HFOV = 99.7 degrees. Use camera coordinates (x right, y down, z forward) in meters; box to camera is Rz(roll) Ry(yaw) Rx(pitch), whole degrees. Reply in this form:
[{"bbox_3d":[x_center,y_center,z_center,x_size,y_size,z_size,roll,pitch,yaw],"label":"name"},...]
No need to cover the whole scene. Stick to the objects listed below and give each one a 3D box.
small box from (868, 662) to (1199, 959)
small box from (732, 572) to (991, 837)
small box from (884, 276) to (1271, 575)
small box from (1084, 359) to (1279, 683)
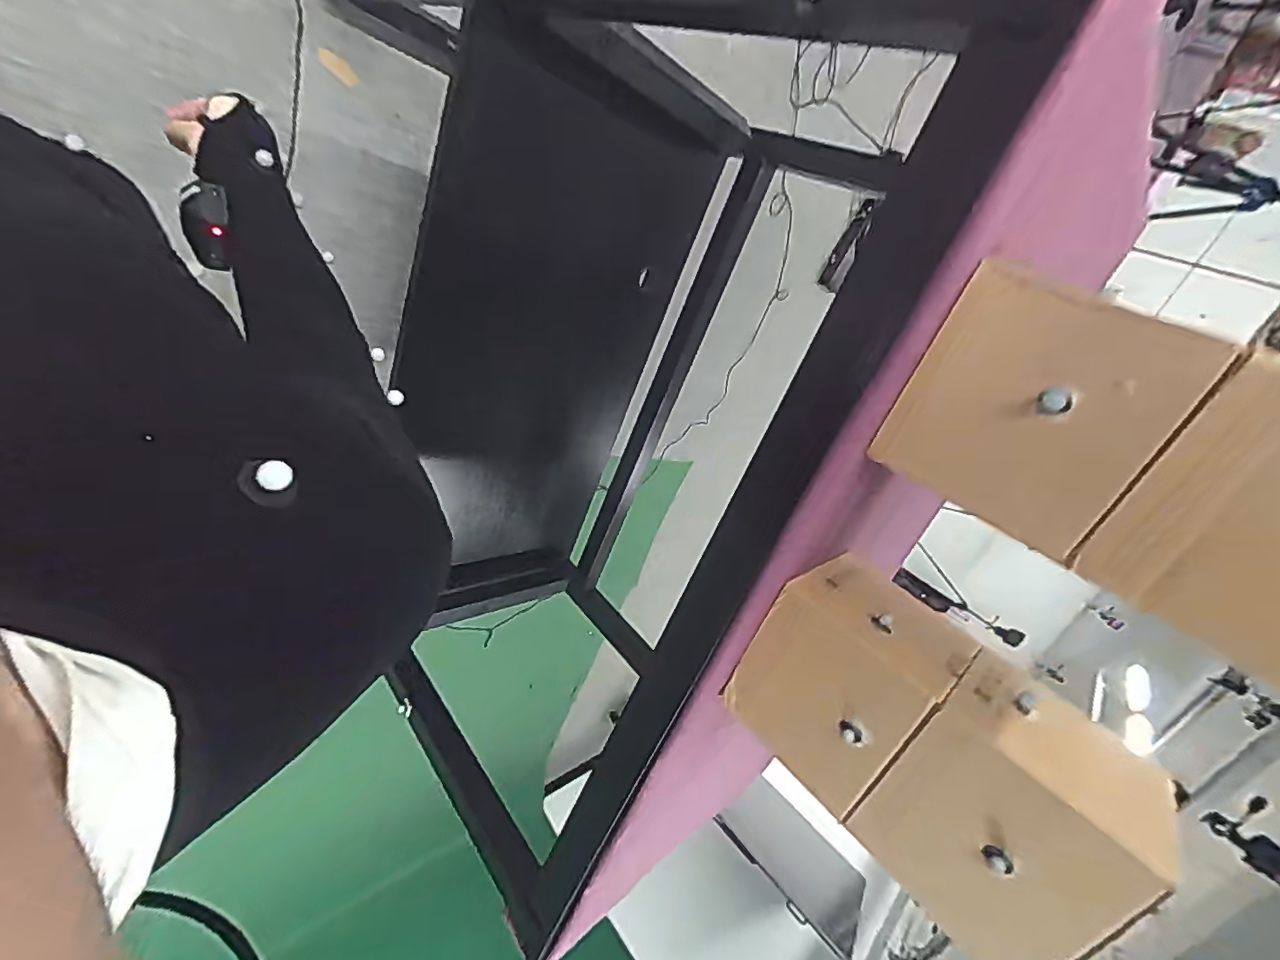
[{"bbox_3d":[0.333,0.301,0.485,0.168,0.176,0.179,-6,125,-47],"label":"small box"},{"bbox_3d":[0.227,0.216,0.575,0.168,0.176,0.179,-5,126,-47],"label":"small box"},{"bbox_3d":[0.341,-0.052,0.454,0.168,0.176,0.179,-7,126,-47],"label":"small box"},{"bbox_3d":[0.450,0.032,0.366,0.168,0.176,0.179,-8,129,-47],"label":"small box"}]
